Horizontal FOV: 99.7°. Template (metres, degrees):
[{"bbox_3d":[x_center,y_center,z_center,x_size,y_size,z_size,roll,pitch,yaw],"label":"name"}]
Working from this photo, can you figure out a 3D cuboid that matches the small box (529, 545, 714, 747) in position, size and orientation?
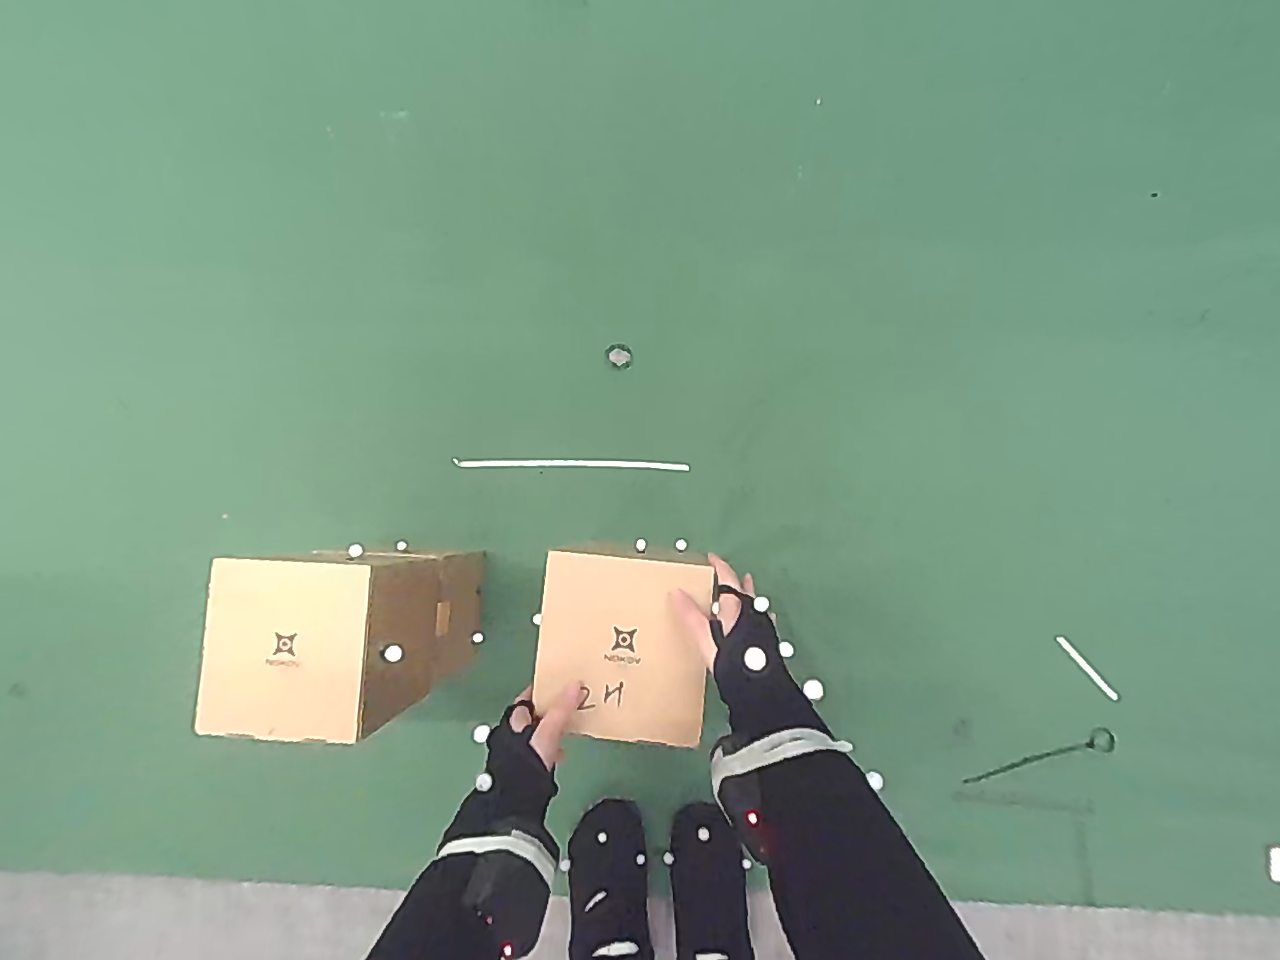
[{"bbox_3d":[-0.015,0.167,0.603,0.168,0.176,0.179,5,86,3],"label":"small box"}]

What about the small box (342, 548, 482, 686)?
[{"bbox_3d":[-0.341,0.186,0.781,0.179,0.176,0.168,2,85,4],"label":"small box"}]

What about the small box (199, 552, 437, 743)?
[{"bbox_3d":[-0.347,0.175,0.619,0.168,0.176,0.179,2,86,3],"label":"small box"}]
